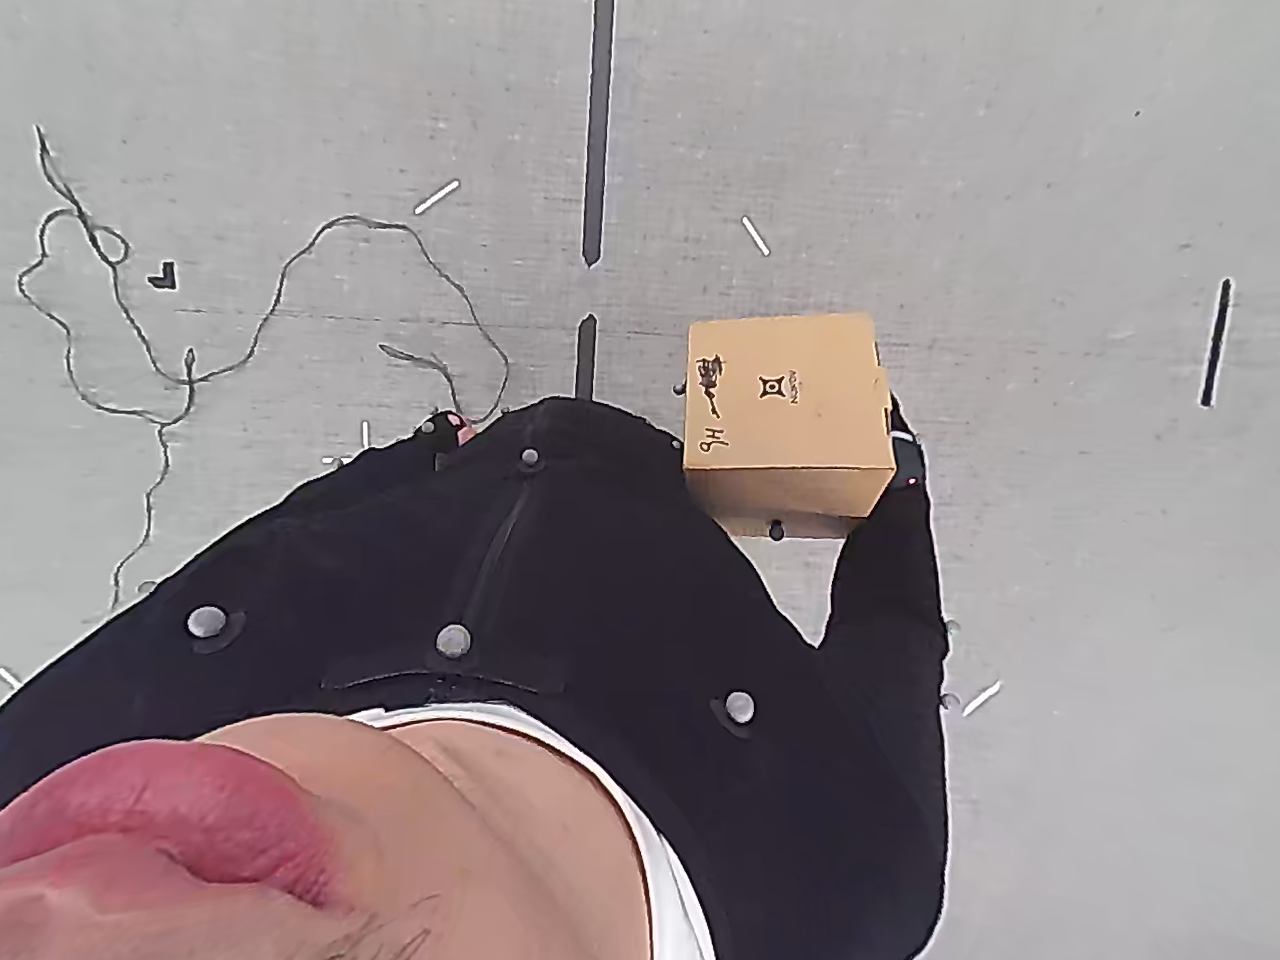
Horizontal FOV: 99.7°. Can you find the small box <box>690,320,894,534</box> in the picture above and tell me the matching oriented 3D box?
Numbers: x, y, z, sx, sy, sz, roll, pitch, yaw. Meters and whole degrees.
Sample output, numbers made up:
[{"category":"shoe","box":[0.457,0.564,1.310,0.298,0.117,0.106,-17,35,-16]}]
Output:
[{"category":"small box","box":[0.146,-0.048,0.575,0.179,0.176,0.168,0,63,9]}]
